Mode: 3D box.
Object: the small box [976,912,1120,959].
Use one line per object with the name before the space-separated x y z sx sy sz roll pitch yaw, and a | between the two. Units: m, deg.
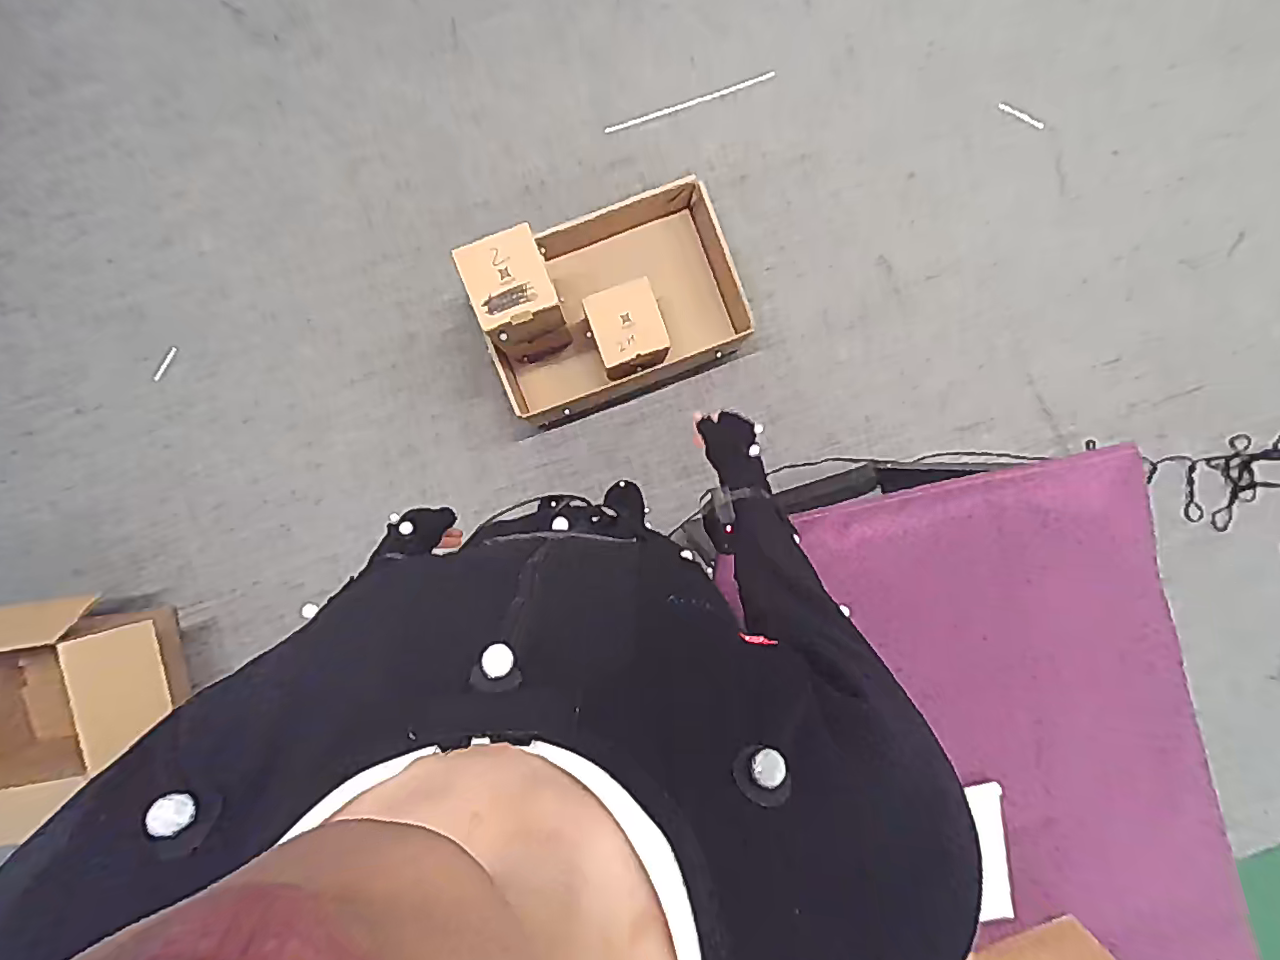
small box | 0.578 0.733 0.711 0.179 0.176 0.168 -20 92 -2
